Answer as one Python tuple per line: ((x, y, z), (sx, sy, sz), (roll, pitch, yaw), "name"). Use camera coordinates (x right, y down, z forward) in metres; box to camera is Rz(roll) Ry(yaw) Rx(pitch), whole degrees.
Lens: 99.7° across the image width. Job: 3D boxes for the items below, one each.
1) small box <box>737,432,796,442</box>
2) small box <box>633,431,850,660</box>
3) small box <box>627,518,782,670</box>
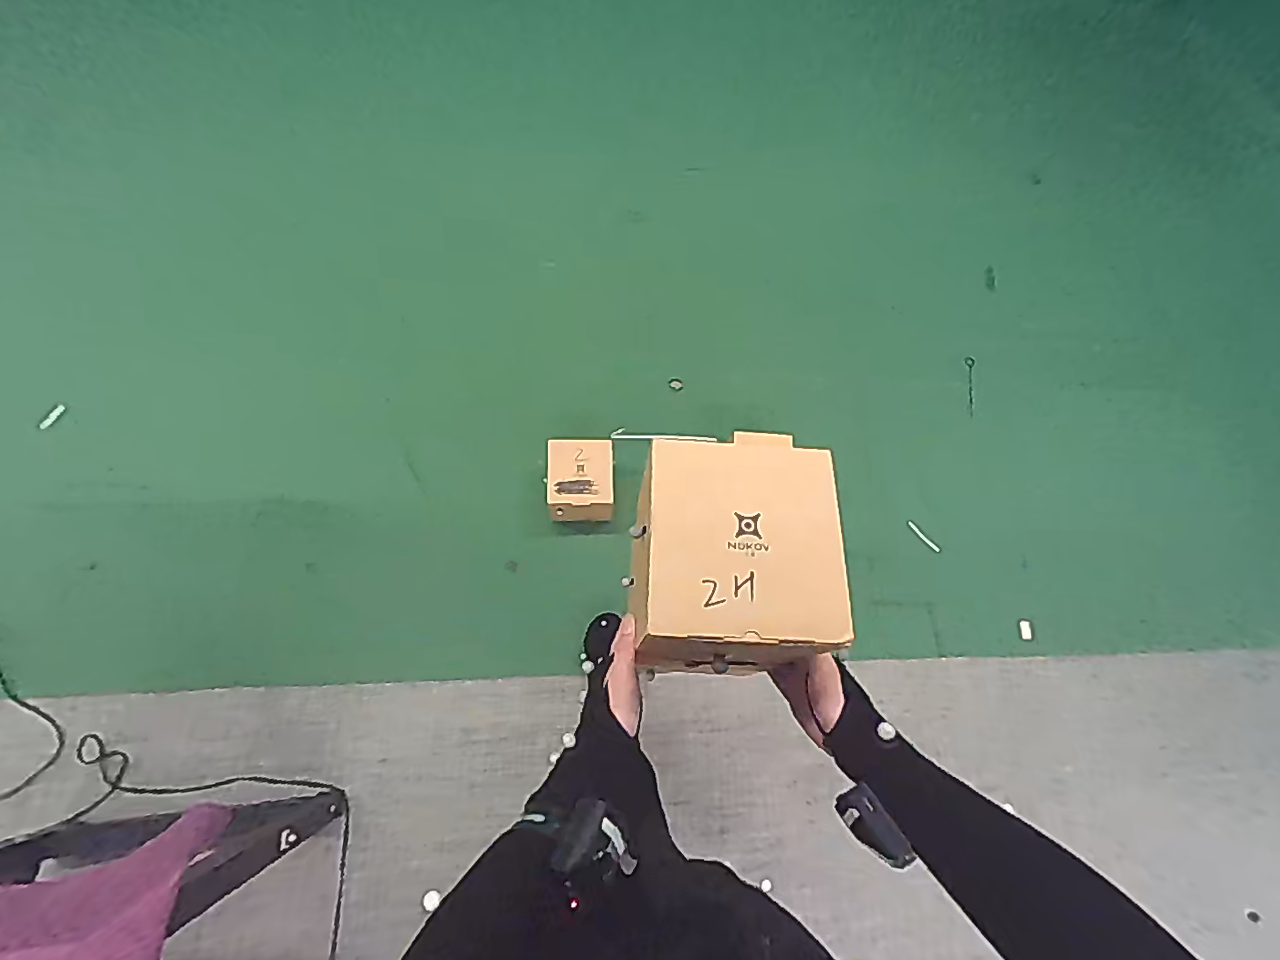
((0.327, -0.016, 1.502), (0.168, 0.176, 0.179), (4, 72, -6), "small box")
((0.082, 0.072, 0.527), (0.168, 0.176, 0.179), (4, 67, -3), "small box")
((0.072, 0.139, 0.677), (0.168, 0.176, 0.179), (4, 66, -3), "small box")
